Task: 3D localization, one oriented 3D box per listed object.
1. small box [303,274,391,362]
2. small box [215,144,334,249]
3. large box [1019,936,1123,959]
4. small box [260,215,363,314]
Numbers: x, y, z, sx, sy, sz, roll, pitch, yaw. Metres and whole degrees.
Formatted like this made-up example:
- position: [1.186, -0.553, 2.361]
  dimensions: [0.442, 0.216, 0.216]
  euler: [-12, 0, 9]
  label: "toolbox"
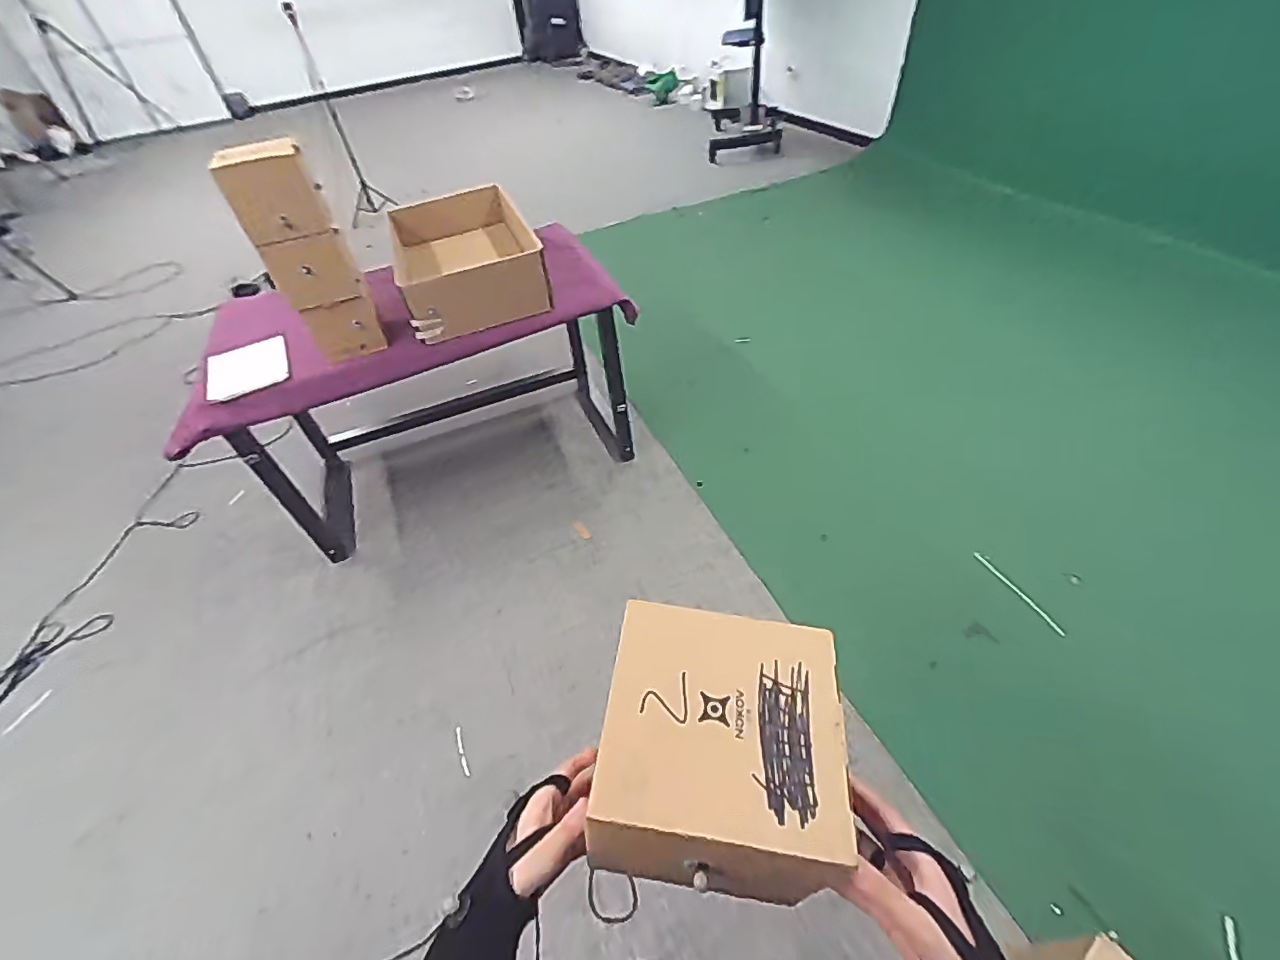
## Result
- position: [-0.817, -0.450, 1.519]
  dimensions: [0.168, 0.176, 0.179]
  euler: [-19, 46, -12]
  label: "small box"
- position: [-0.848, -0.670, 1.278]
  dimensions: [0.179, 0.176, 0.168]
  euler: [-19, 45, -13]
  label: "small box"
- position: [0.695, 1.024, 0.820]
  dimensions: [0.408, 0.320, 0.320]
  euler: [-31, 51, -23]
  label: "large box"
- position: [-0.834, -0.555, 1.395]
  dimensions: [0.179, 0.176, 0.168]
  euler: [-19, 46, -11]
  label: "small box"
